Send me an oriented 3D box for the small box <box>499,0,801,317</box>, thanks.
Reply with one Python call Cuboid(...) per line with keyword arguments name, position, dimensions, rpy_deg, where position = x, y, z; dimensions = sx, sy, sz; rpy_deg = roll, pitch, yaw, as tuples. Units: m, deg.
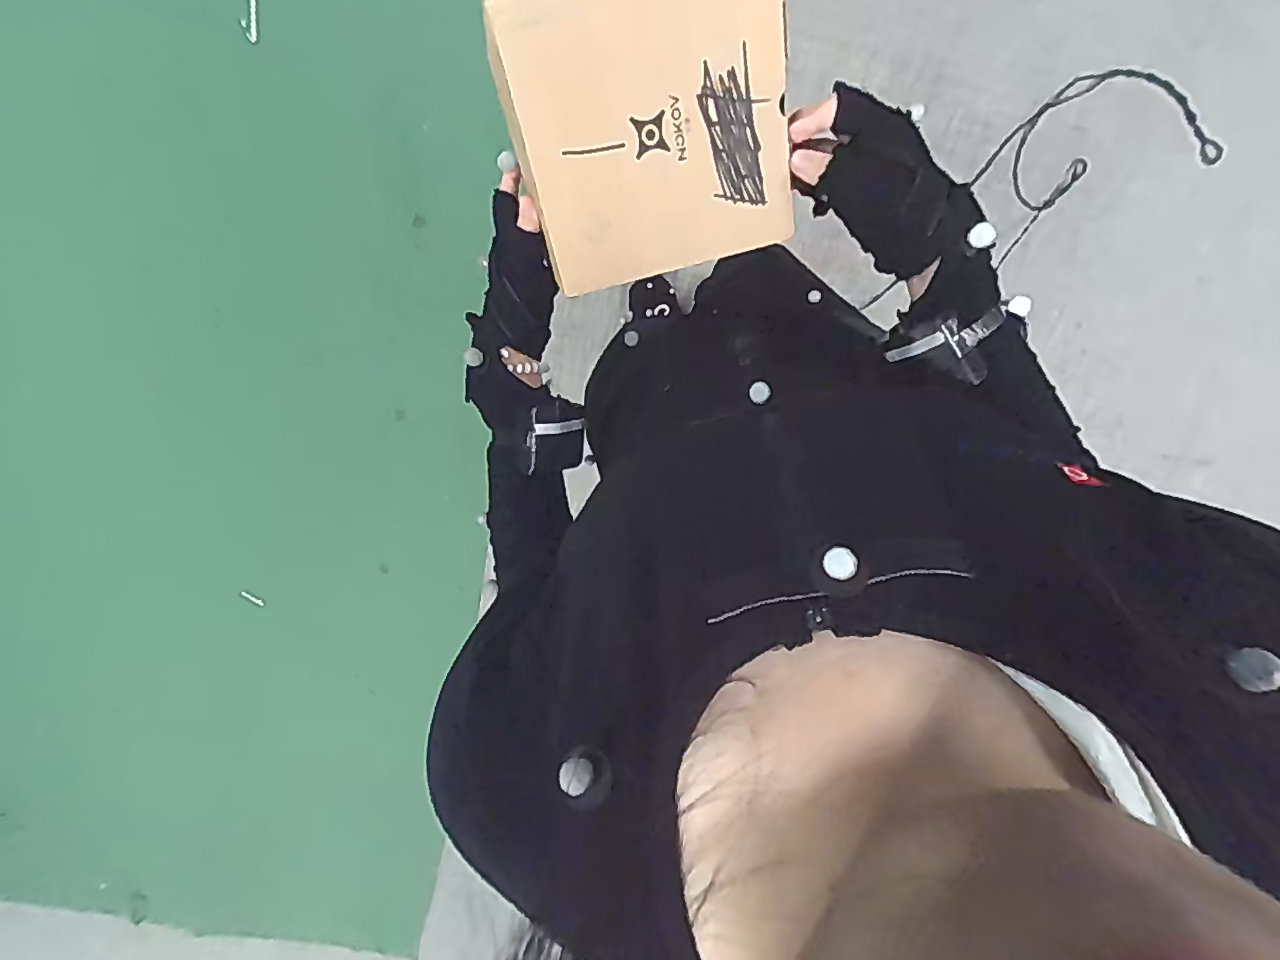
Cuboid(name="small box", position=(0.001, -0.243, 0.409), dimensions=(0.179, 0.176, 0.168), rpy_deg=(-16, 121, -5))
